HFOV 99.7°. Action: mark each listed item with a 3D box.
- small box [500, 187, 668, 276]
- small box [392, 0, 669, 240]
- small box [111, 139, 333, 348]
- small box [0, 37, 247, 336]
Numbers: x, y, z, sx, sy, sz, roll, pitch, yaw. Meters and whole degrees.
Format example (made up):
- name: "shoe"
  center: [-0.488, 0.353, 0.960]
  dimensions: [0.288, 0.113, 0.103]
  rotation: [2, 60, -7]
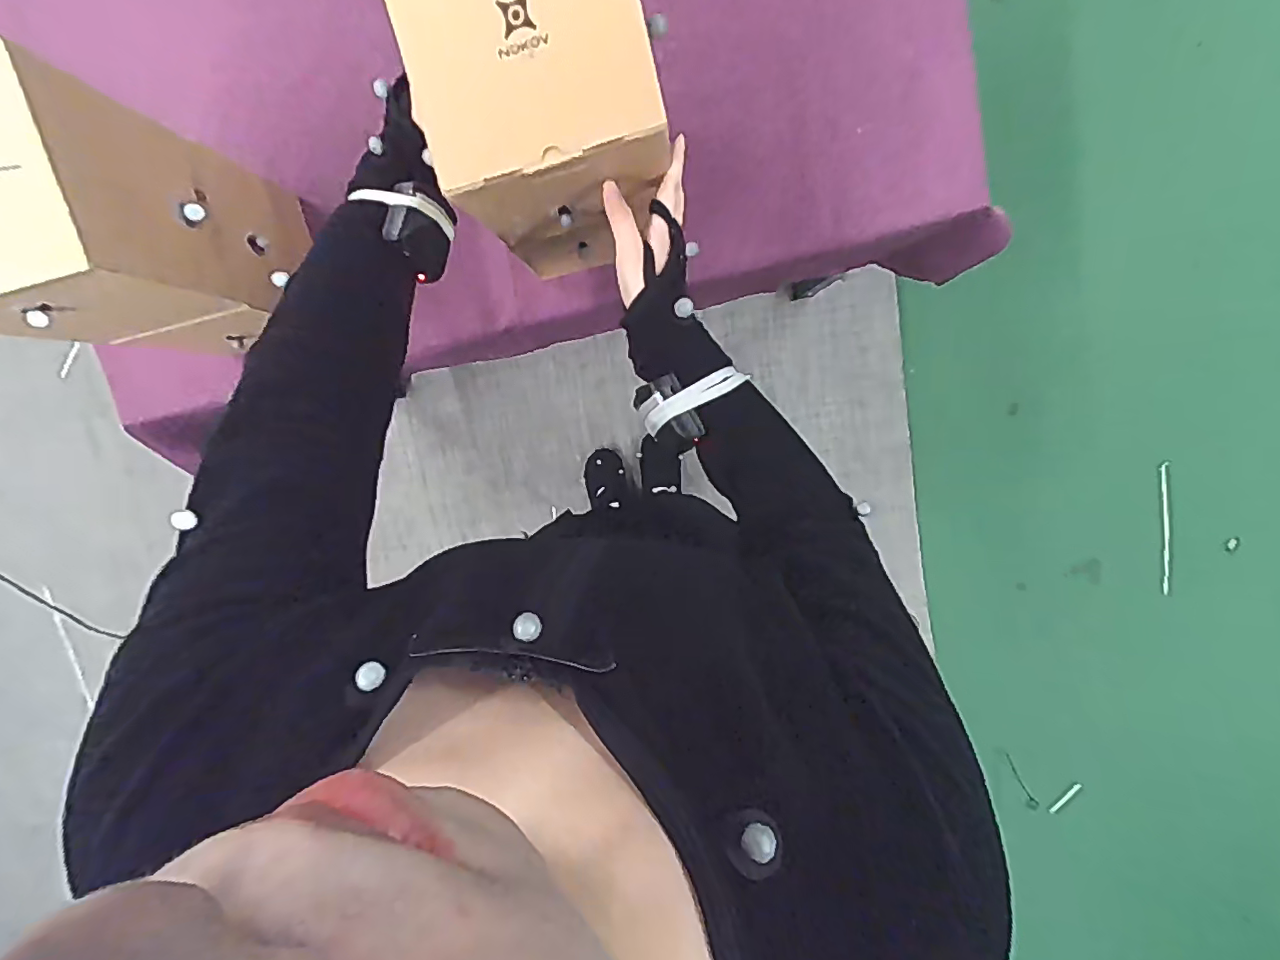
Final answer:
- name: "small box"
  center: [-0.068, -0.349, 0.618]
  dimensions: [0.179, 0.176, 0.168]
  rotation: [-13, 99, 5]
- name: "small box"
  center: [-0.076, -0.320, 0.439]
  dimensions: [0.168, 0.176, 0.179]
  rotation: [-13, 102, 6]
- name: "small box"
  center: [-0.506, -0.261, 0.645]
  dimensions: [0.168, 0.176, 0.179]
  rotation: [-13, 98, 3]
- name: "small box"
  center: [-0.512, -0.234, 0.483]
  dimensions: [0.179, 0.176, 0.168]
  rotation: [-13, 99, 3]
